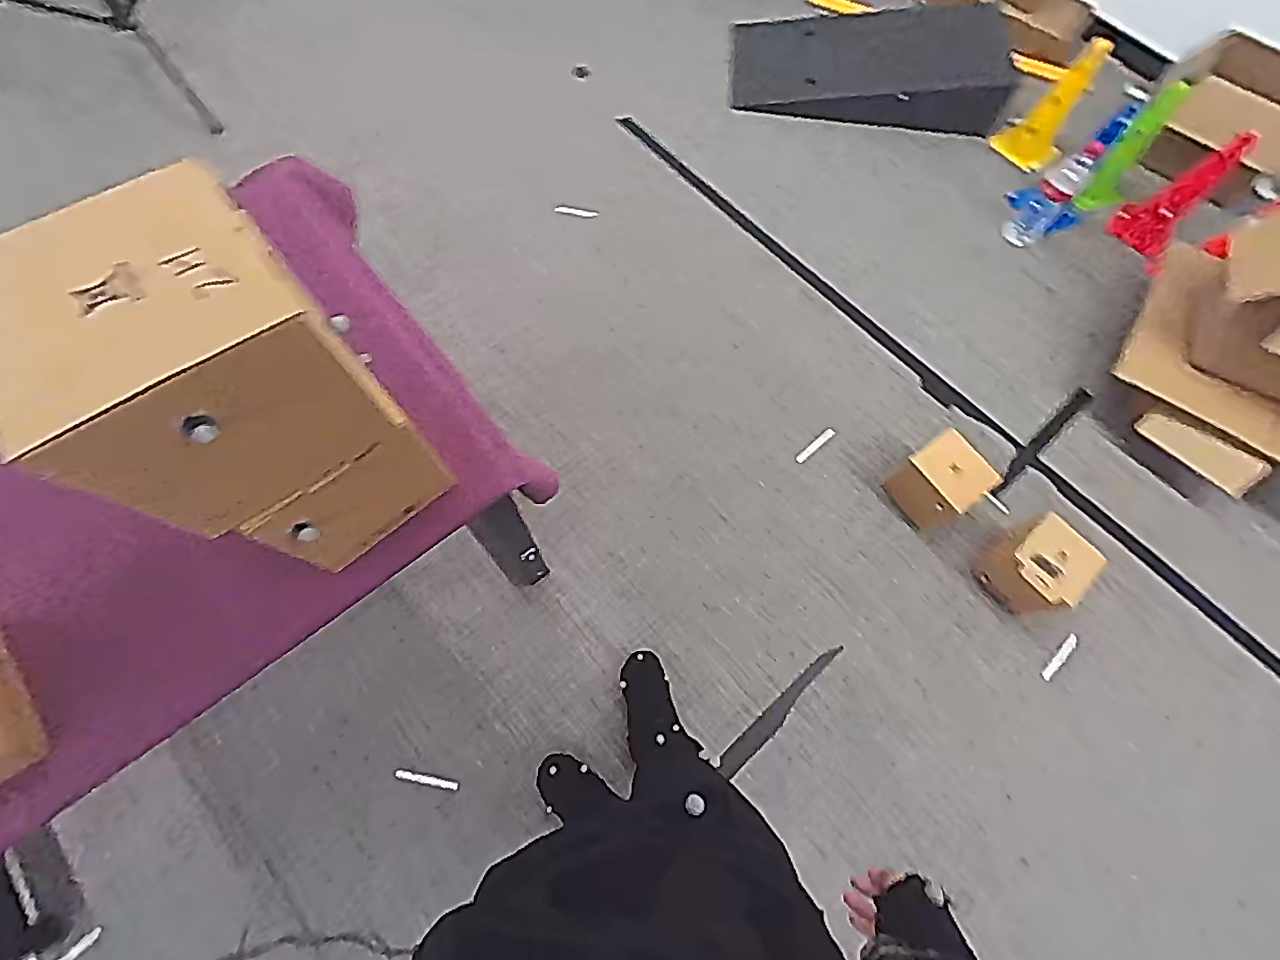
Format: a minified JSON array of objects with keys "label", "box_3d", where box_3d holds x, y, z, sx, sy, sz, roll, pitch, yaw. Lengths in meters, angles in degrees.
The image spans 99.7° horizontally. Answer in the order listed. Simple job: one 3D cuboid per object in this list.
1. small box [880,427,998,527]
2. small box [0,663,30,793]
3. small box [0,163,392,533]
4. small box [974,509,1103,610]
[{"label":"small box","box_3d":[0.775,-0.001,1.424,0.168,0.176,0.179,-33,75,-15]},{"label":"small box","box_3d":[-0.677,0.231,0.440,0.179,0.176,0.168,-37,77,-17]},{"label":"small box","box_3d":[-0.328,-0.084,0.408,0.179,0.176,0.168,-36,75,-15]},{"label":"small box","box_3d":[0.987,0.207,1.360,0.179,0.176,0.168,-40,78,-17]}]
